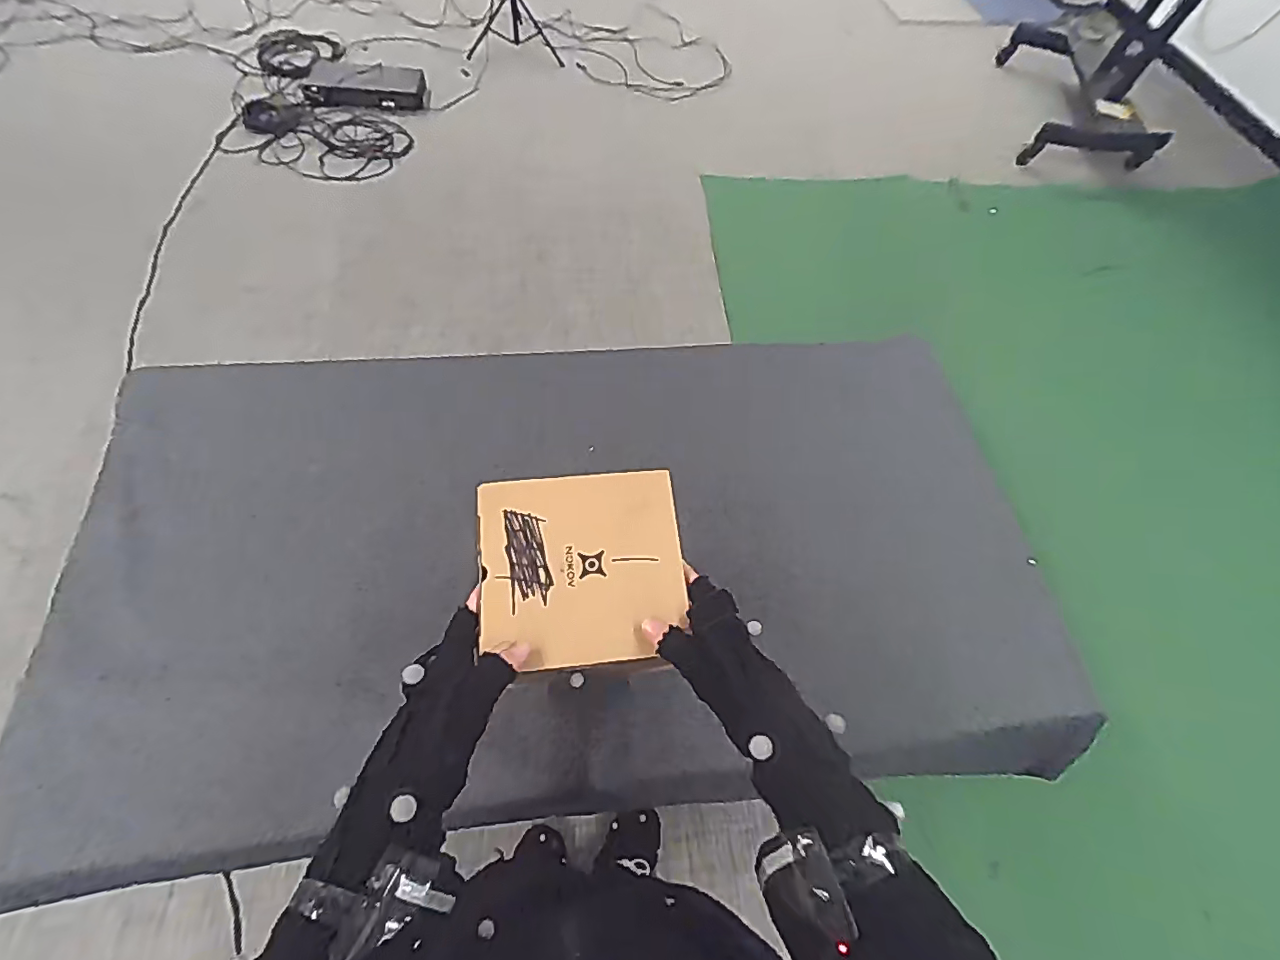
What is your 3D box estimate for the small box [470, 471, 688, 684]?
[{"bbox_3d":[-0.058,0.103,0.531,0.179,0.176,0.168,-4,67,-6],"label":"small box"}]
